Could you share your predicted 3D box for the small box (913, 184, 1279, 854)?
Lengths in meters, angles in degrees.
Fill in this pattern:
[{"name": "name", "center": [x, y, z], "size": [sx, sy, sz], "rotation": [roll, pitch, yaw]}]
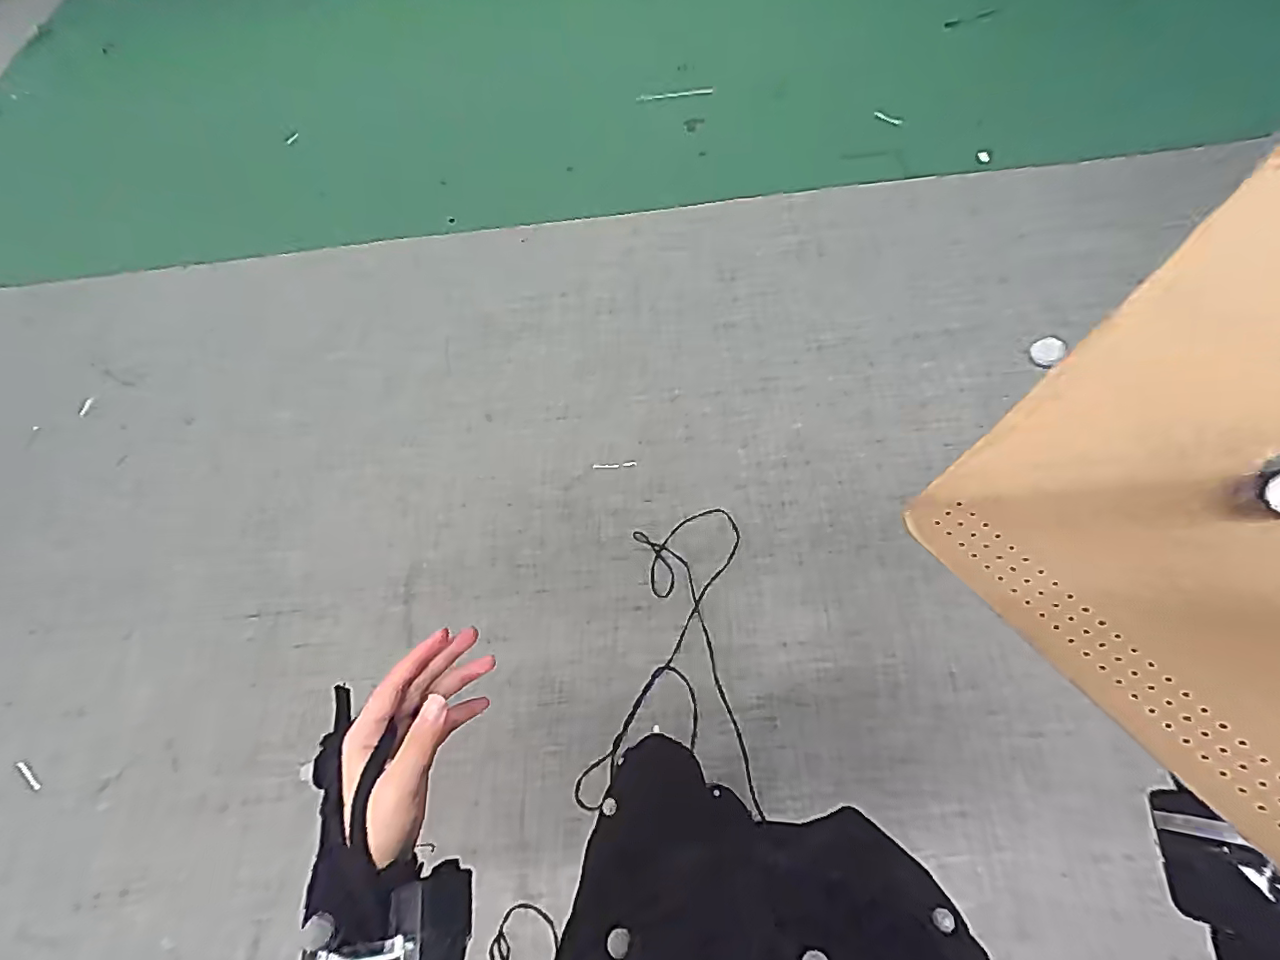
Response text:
[{"name": "small box", "center": [0.256, 0.010, 0.222], "size": [0.168, 0.176, 0.179], "rotation": [-21, 58, -41]}]
